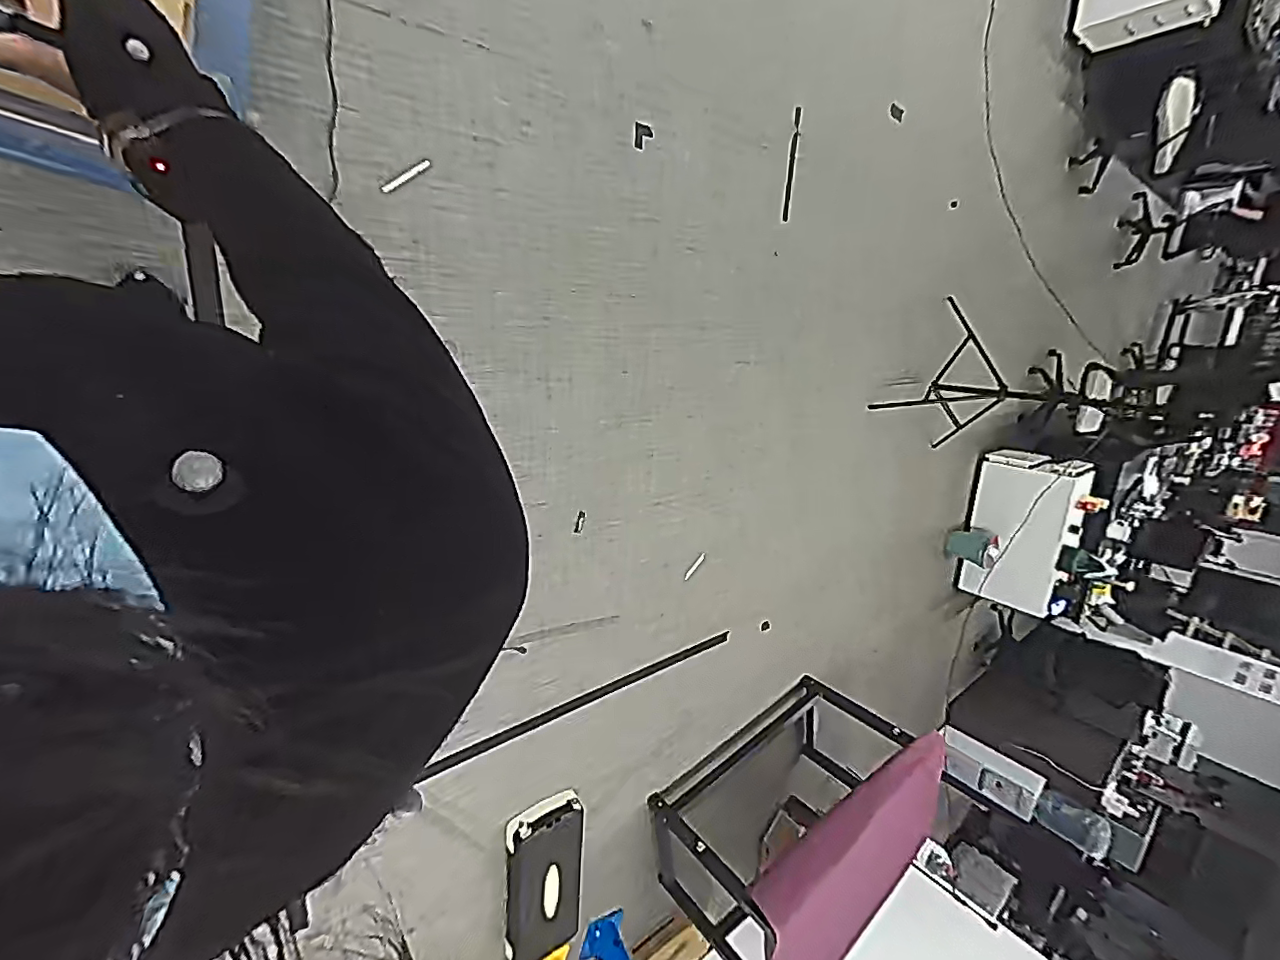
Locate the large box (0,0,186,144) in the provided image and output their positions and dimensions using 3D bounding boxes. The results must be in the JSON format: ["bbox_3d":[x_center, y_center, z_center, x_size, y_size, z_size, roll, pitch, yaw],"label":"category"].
[{"bbox_3d":[-0.821,-0.689,0.660,0.408,0.320,0.320,3,102,-41],"label":"large box"}]
